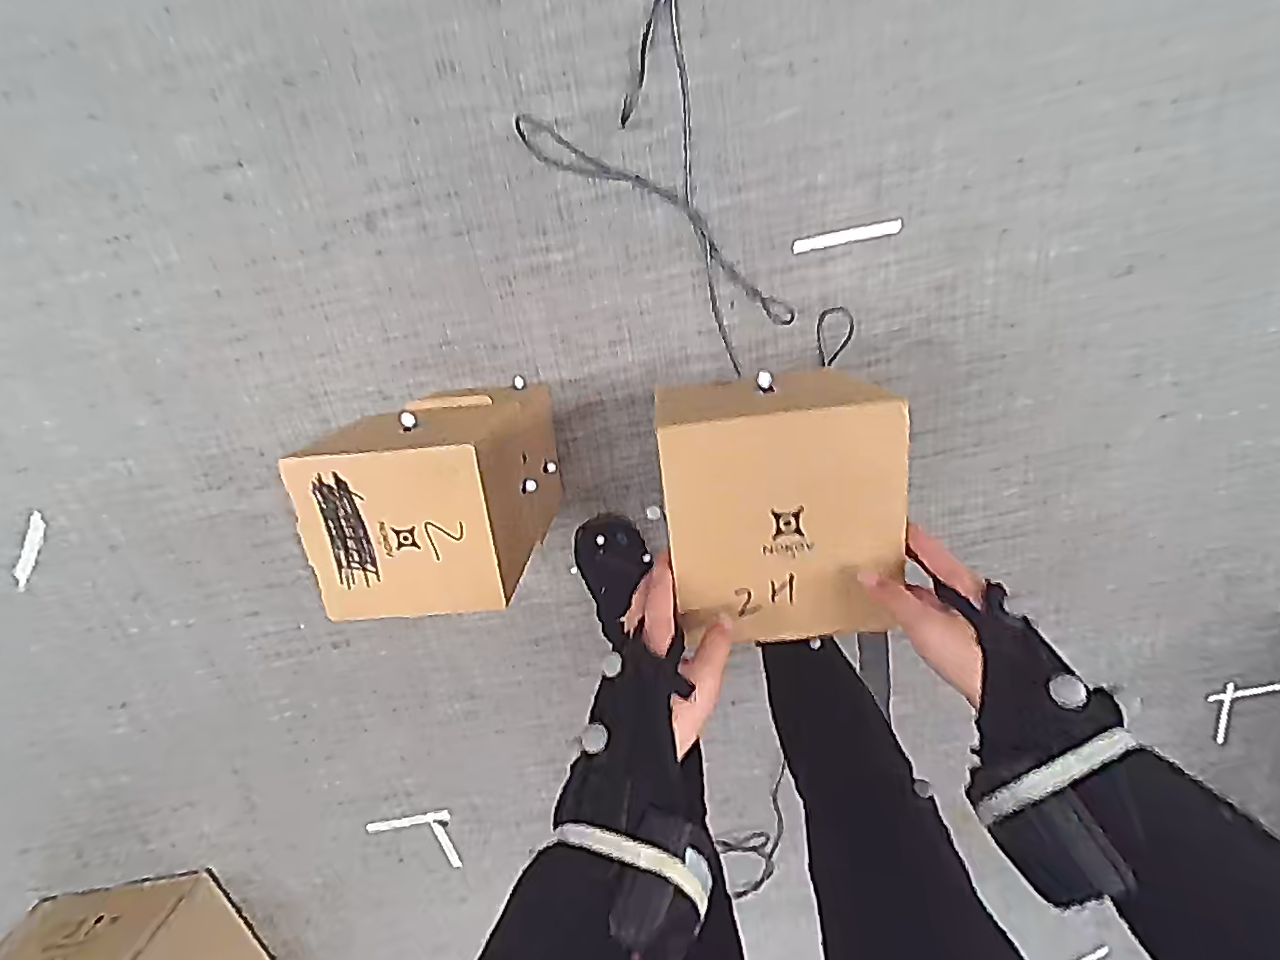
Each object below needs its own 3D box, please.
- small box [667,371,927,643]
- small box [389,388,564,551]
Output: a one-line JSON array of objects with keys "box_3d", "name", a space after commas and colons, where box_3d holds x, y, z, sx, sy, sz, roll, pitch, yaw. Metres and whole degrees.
[{"box_3d": [0.111, 0.008, 0.446, 0.168, 0.176, 0.179, -5, 108, 4], "name": "small box"}, {"box_3d": [-0.201, -0.024, 0.719, 0.168, 0.176, 0.179, -4, 110, 3], "name": "small box"}]
